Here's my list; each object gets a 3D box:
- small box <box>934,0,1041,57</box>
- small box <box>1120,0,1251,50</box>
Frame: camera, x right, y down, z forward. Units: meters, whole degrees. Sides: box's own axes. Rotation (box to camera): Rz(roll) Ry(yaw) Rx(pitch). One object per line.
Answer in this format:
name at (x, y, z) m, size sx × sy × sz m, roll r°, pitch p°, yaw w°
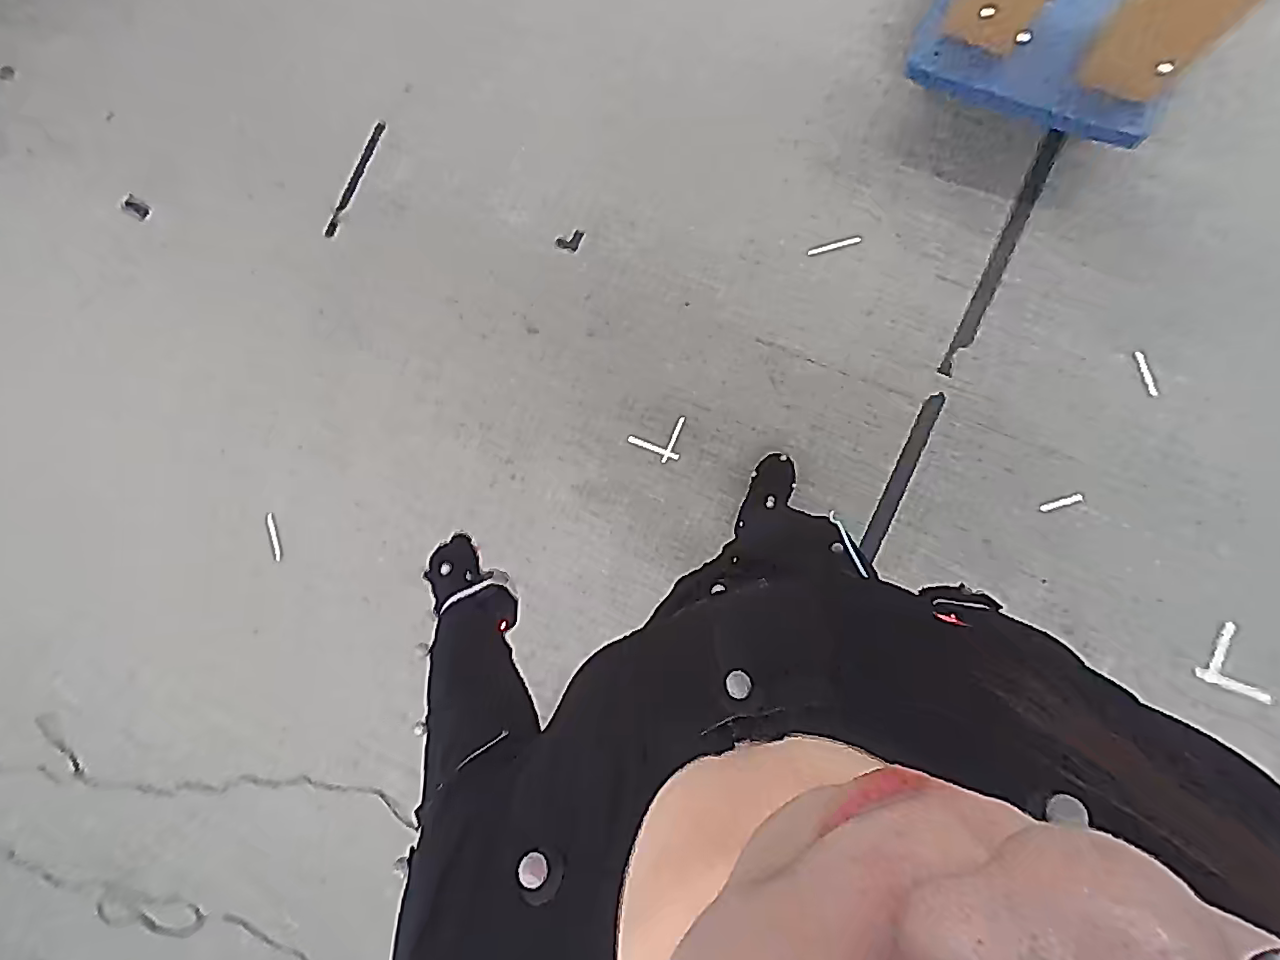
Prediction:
small box at (0.817, -1.120, 1.230) m, size 0.179 × 0.176 × 0.168 m, roll 28°, pitch 90°, yaw 8°
small box at (1.086, -0.978, 1.029) m, size 0.179 × 0.176 × 0.168 m, roll 29°, pitch 90°, yaw 6°
